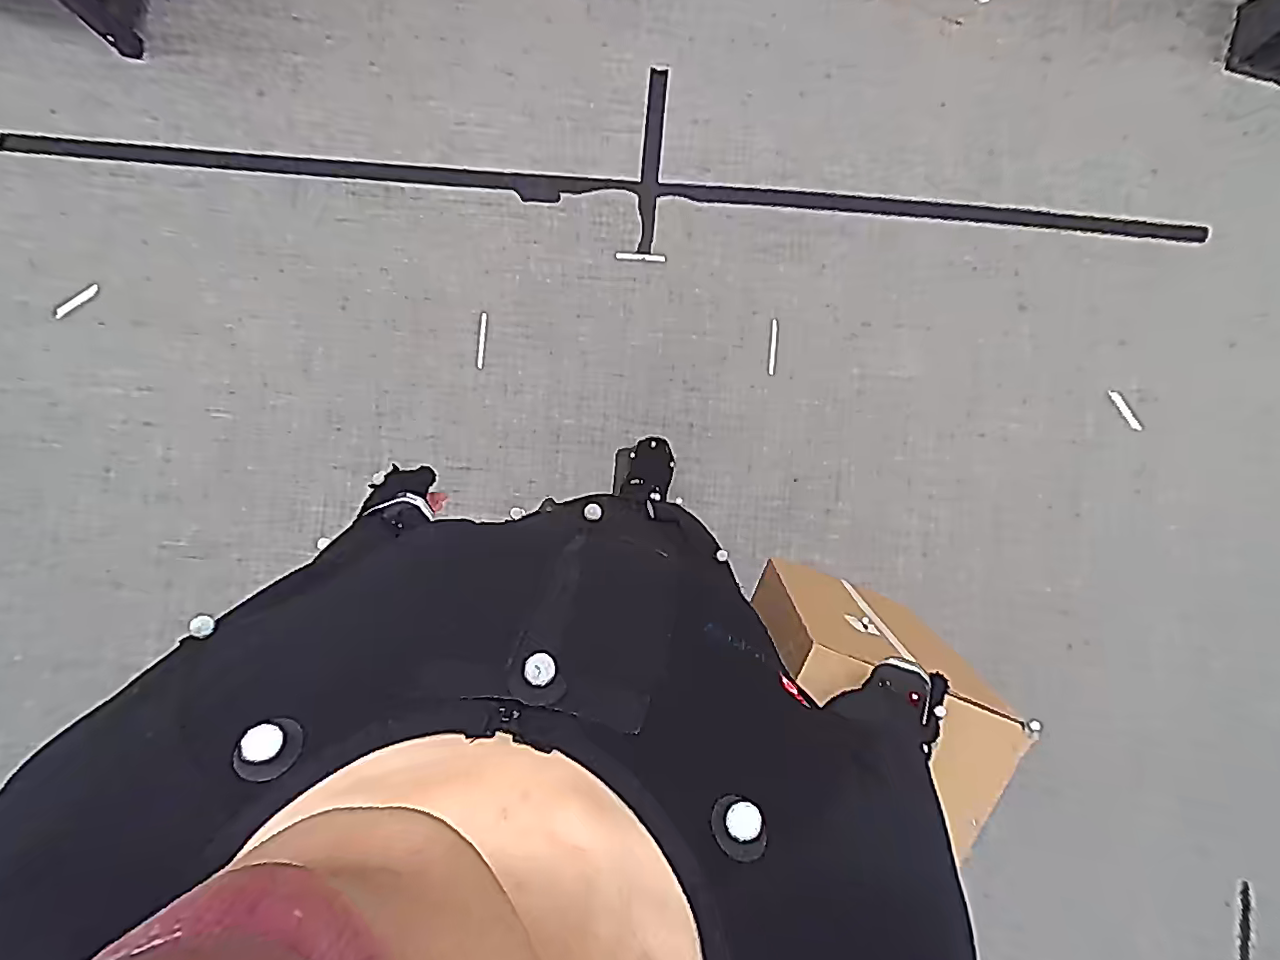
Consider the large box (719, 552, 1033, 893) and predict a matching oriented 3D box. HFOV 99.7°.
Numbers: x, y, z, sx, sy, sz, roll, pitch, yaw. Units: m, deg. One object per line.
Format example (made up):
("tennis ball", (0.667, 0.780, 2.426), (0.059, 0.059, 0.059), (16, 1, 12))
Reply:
("large box", (0.345, 0.374, 0.943), (0.320, 0.408, 0.320), (21, 101, 2))
